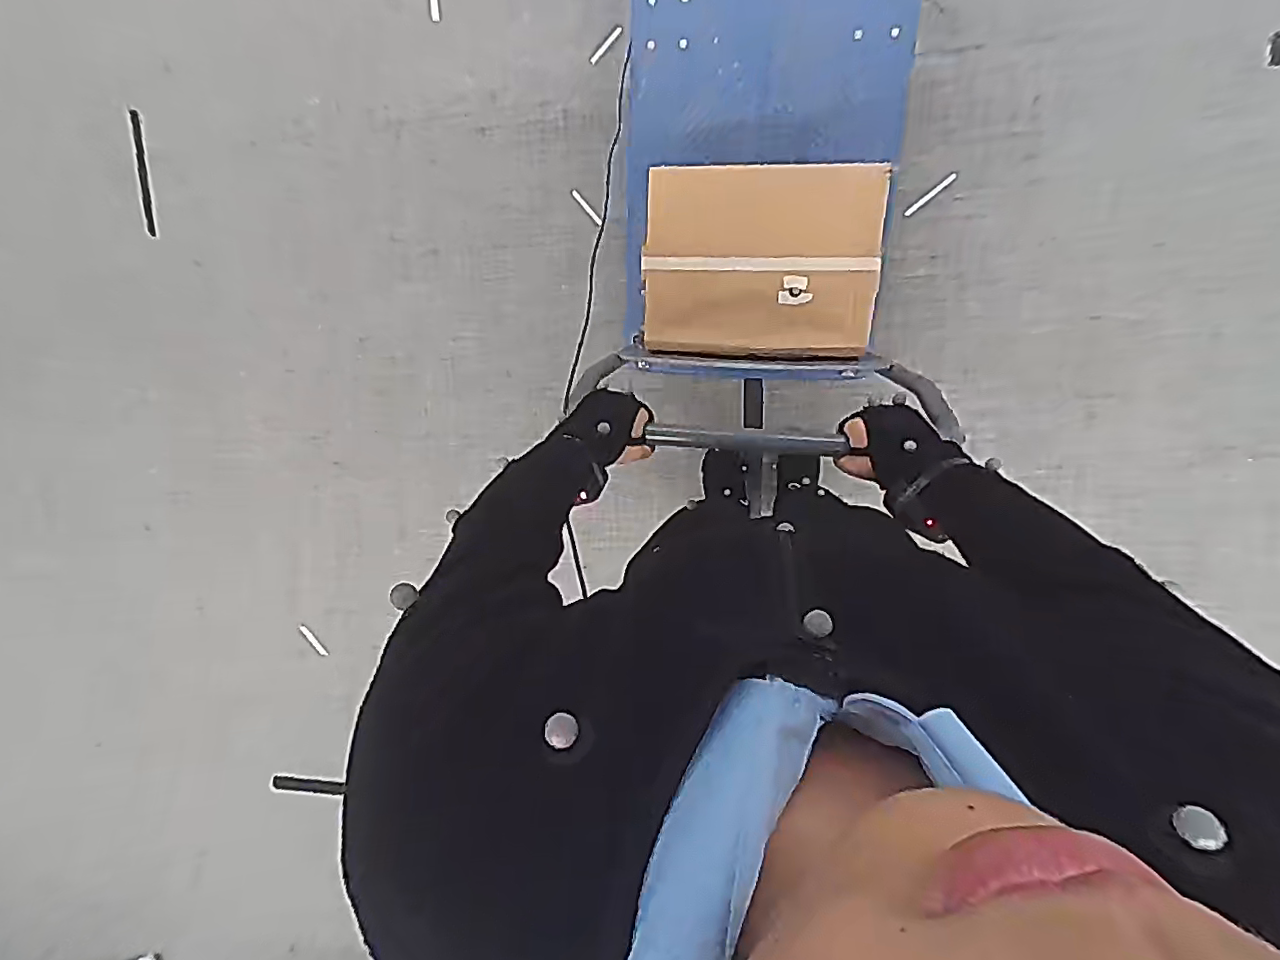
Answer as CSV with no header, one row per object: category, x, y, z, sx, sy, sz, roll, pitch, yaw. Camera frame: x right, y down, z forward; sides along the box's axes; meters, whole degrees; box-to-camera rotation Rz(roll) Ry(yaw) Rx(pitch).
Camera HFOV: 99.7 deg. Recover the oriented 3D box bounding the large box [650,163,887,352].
large box,0.237,-0.427,1.109,0.408,0.320,0.320,3,106,8
